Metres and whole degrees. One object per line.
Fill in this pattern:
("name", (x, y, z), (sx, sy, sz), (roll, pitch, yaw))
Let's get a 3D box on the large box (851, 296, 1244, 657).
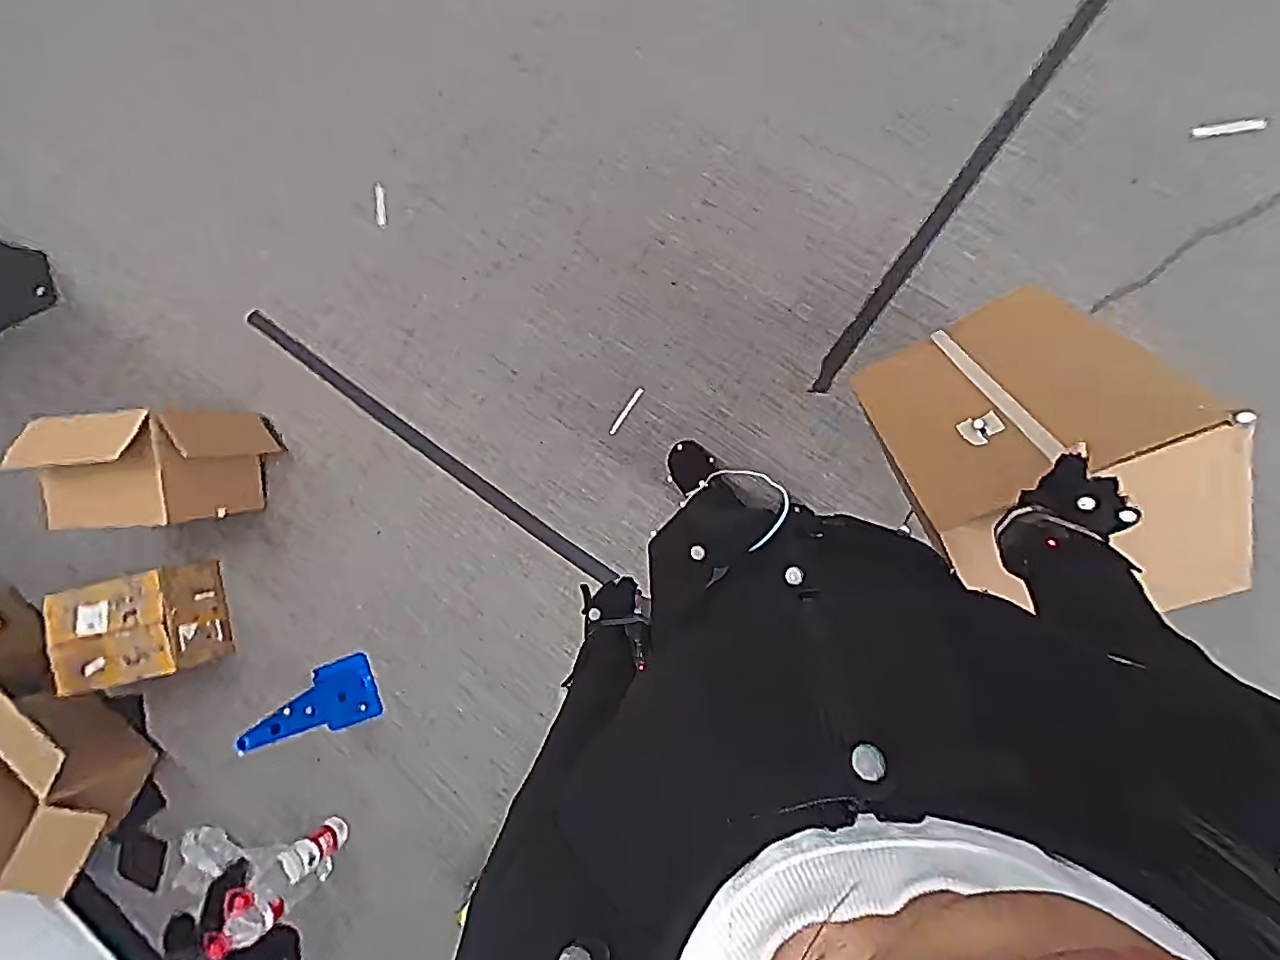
("large box", (0.578, -0.012, 0.834), (0.320, 0.408, 0.320), (-27, 122, 22))
